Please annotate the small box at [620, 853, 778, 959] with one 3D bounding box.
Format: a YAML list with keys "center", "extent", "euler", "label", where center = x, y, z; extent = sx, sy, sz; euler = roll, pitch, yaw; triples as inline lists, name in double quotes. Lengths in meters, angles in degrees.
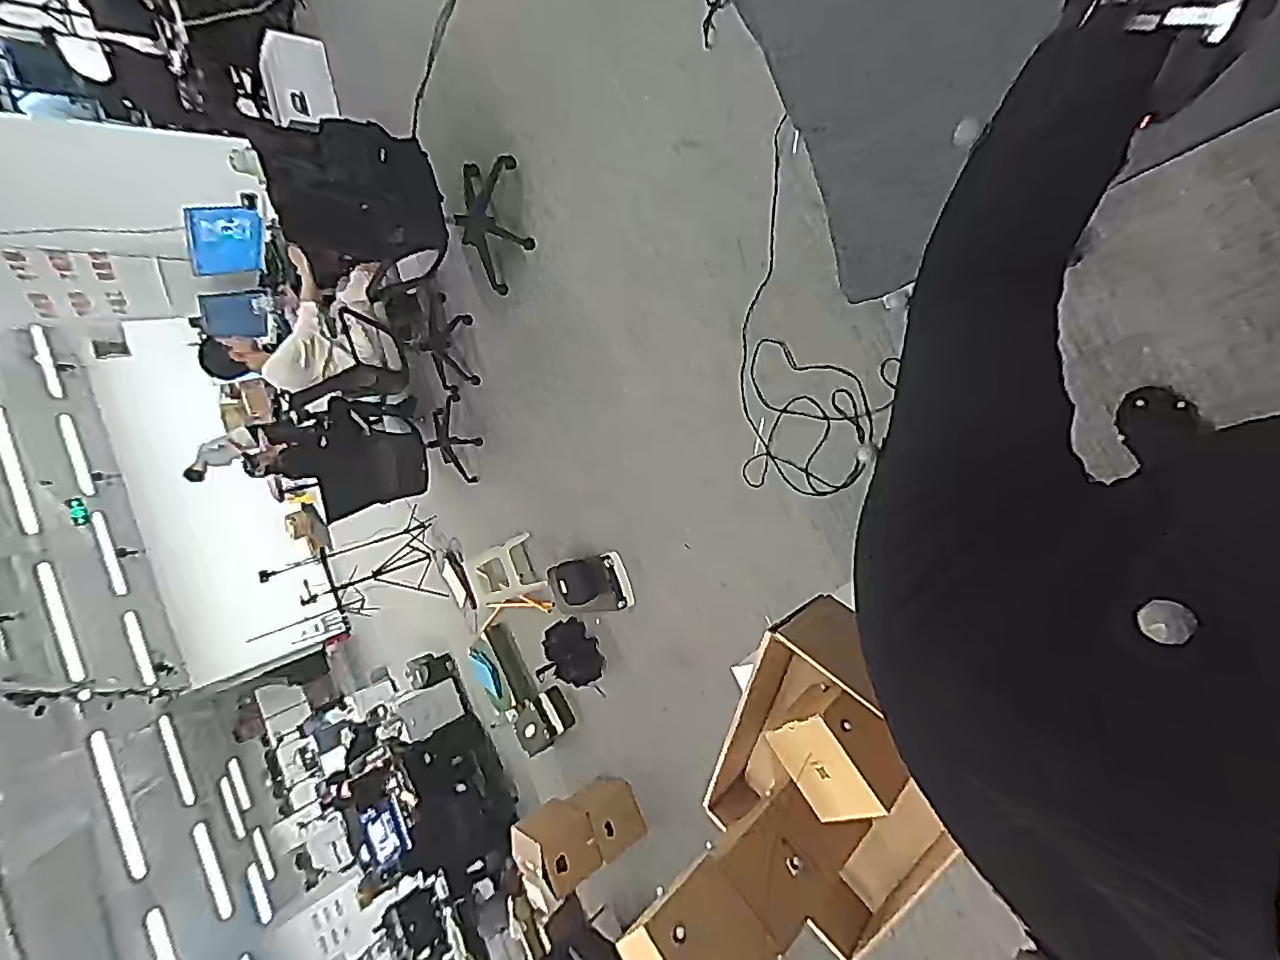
- center: [0.099, 0.781, 0.925]
  extent: [0.179, 0.176, 0.168]
  euler: [45, 135, 26]
  label: "small box"

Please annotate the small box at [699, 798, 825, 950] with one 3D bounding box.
- center: [0.219, 0.754, 1.035]
  extent: [0.168, 0.176, 0.179]
  euler: [47, 135, 23]
  label: "small box"
